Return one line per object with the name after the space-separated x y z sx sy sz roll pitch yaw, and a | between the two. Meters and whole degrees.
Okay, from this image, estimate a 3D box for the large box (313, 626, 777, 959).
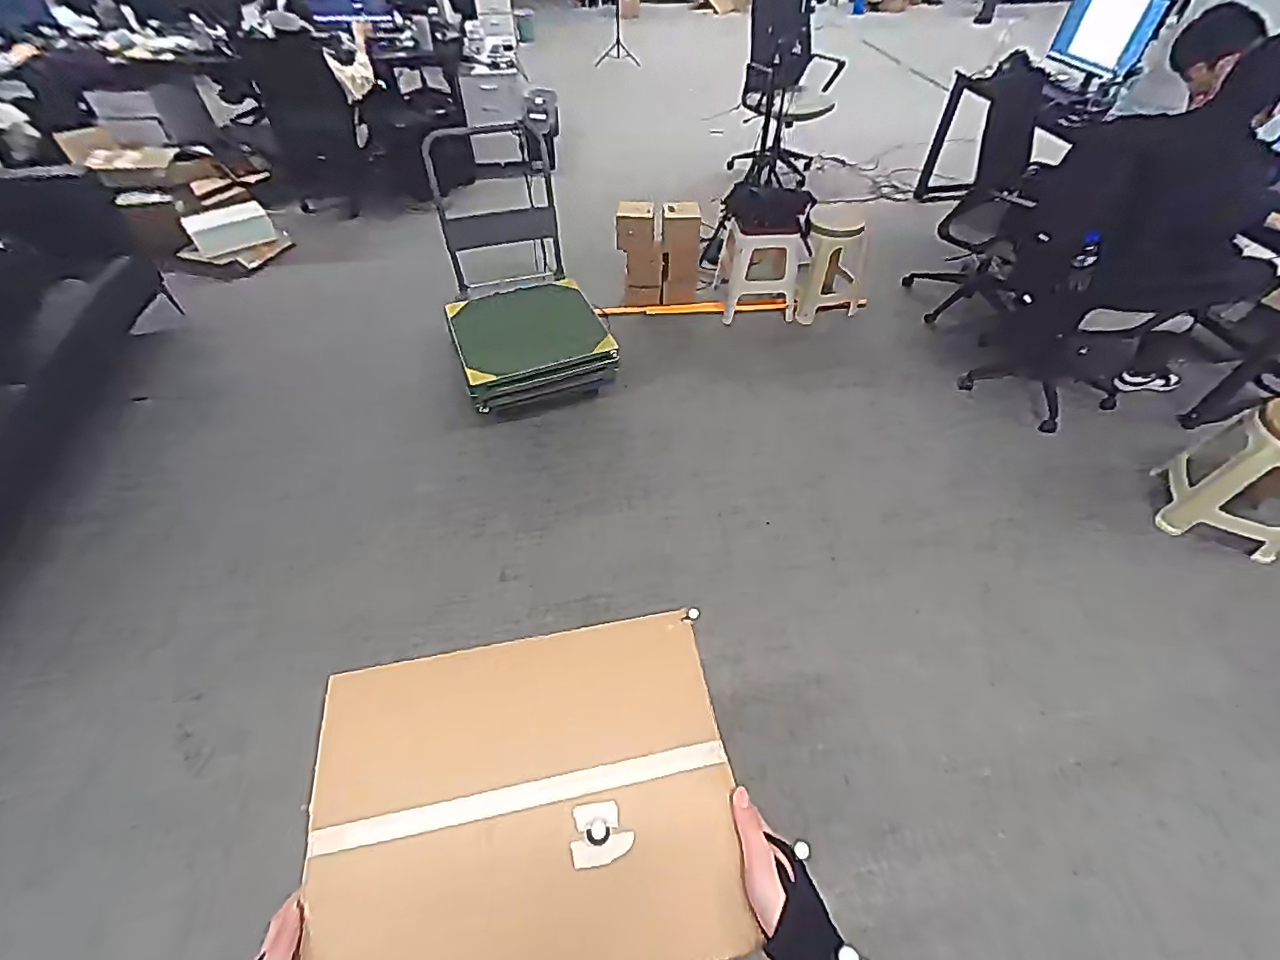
-0.105 0.415 0.650 0.408 0.320 0.320 -9 55 -7 | large box
